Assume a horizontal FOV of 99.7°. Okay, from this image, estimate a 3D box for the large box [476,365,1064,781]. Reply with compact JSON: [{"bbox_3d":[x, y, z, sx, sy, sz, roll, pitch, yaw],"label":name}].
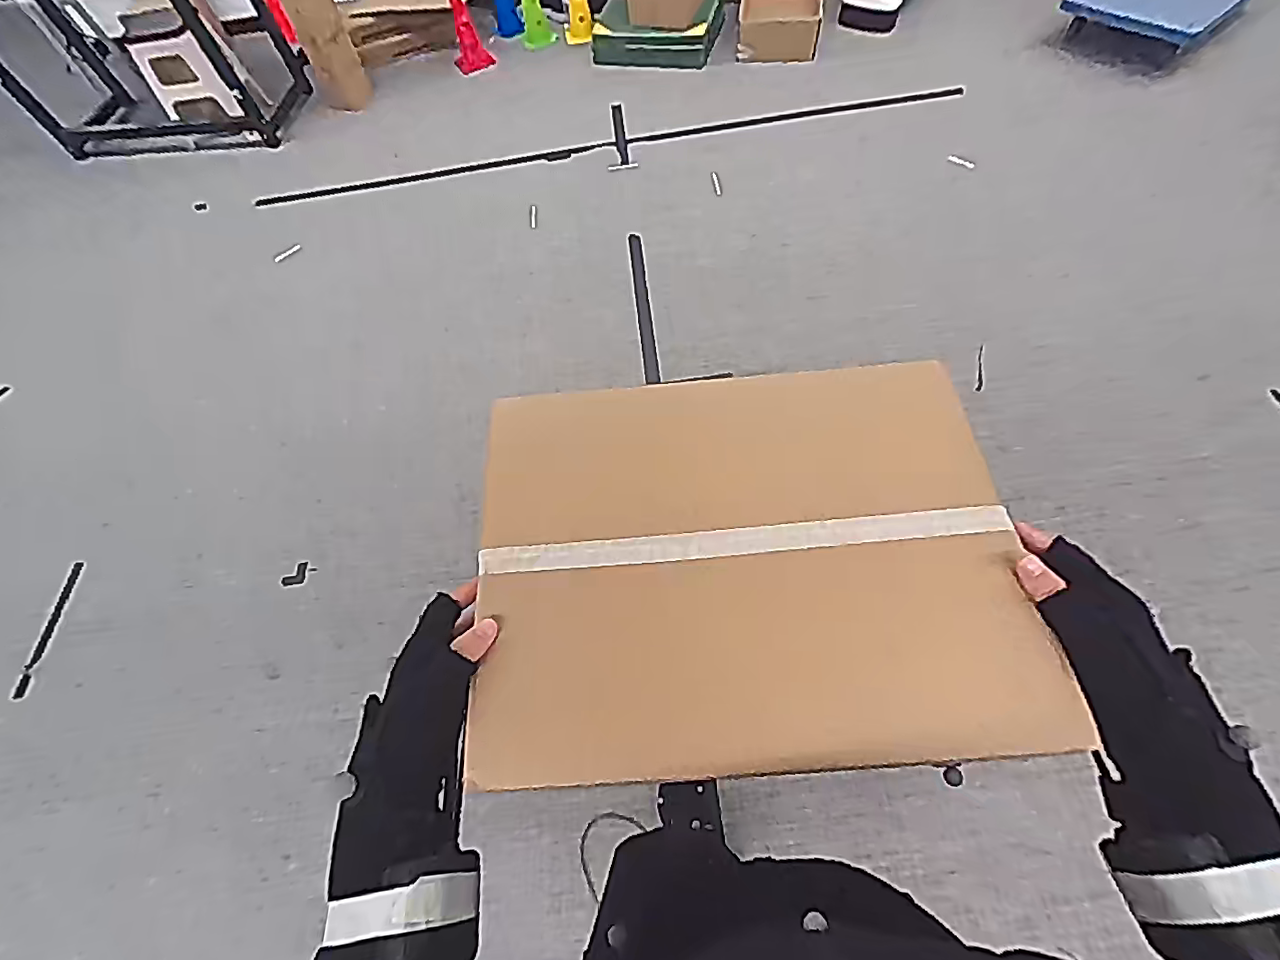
[{"bbox_3d":[0.086,0.114,0.559,0.408,0.320,0.320,-4,62,1],"label":"large box"}]
